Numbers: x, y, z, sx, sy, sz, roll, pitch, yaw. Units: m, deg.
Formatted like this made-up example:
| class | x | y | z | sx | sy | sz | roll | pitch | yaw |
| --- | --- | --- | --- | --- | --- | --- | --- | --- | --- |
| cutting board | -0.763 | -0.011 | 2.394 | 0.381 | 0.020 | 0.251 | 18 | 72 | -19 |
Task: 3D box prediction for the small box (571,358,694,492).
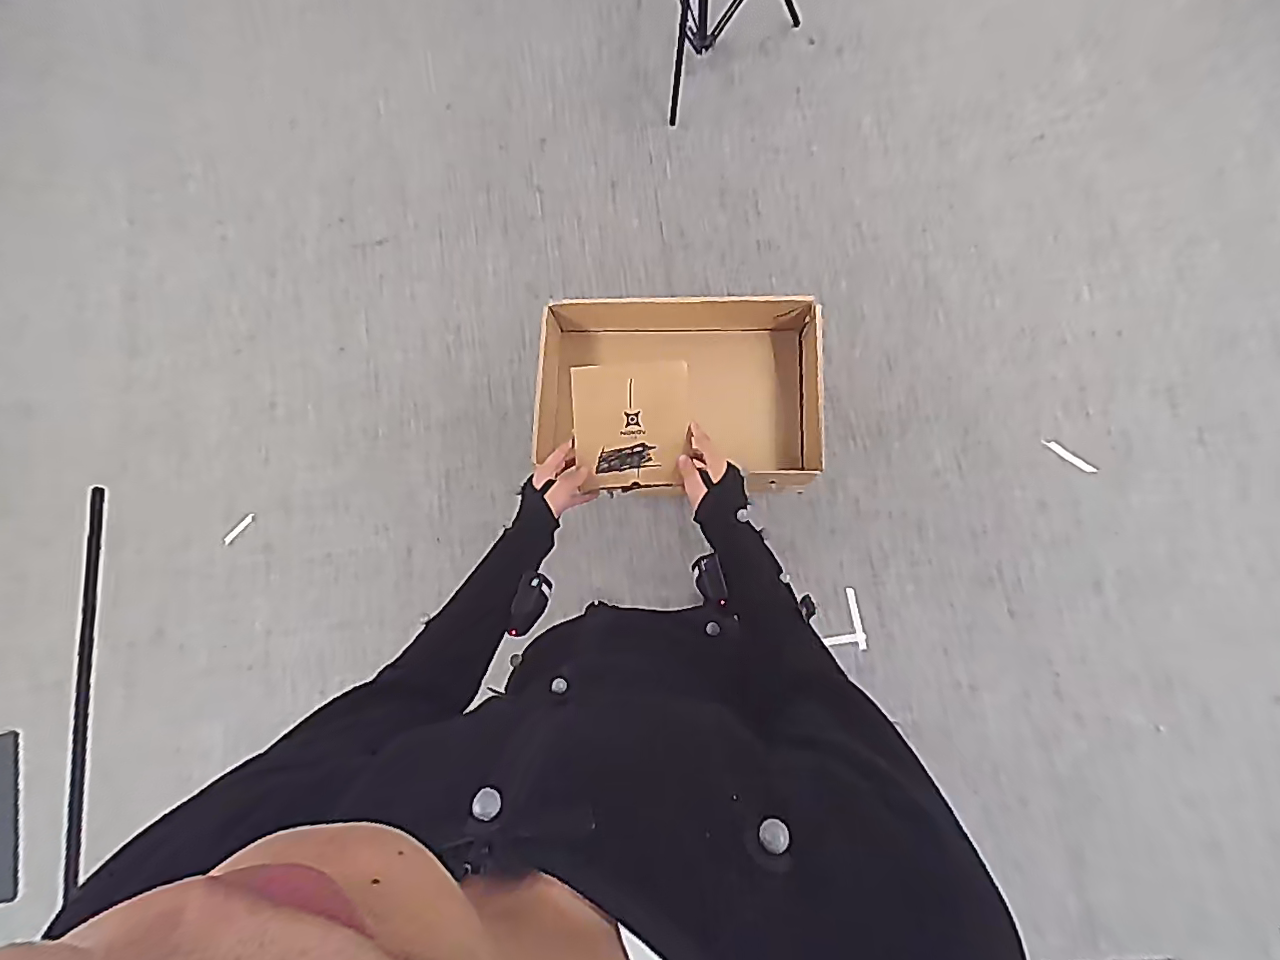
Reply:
| class | x | y | z | sx | sy | sz | roll | pitch | yaw |
| --- | --- | --- | --- | --- | --- | --- | --- | --- | --- |
| small box | -0.006 | -0.074 | 0.816 | 0.168 | 0.176 | 0.179 | -4 | 88 | 2 |
